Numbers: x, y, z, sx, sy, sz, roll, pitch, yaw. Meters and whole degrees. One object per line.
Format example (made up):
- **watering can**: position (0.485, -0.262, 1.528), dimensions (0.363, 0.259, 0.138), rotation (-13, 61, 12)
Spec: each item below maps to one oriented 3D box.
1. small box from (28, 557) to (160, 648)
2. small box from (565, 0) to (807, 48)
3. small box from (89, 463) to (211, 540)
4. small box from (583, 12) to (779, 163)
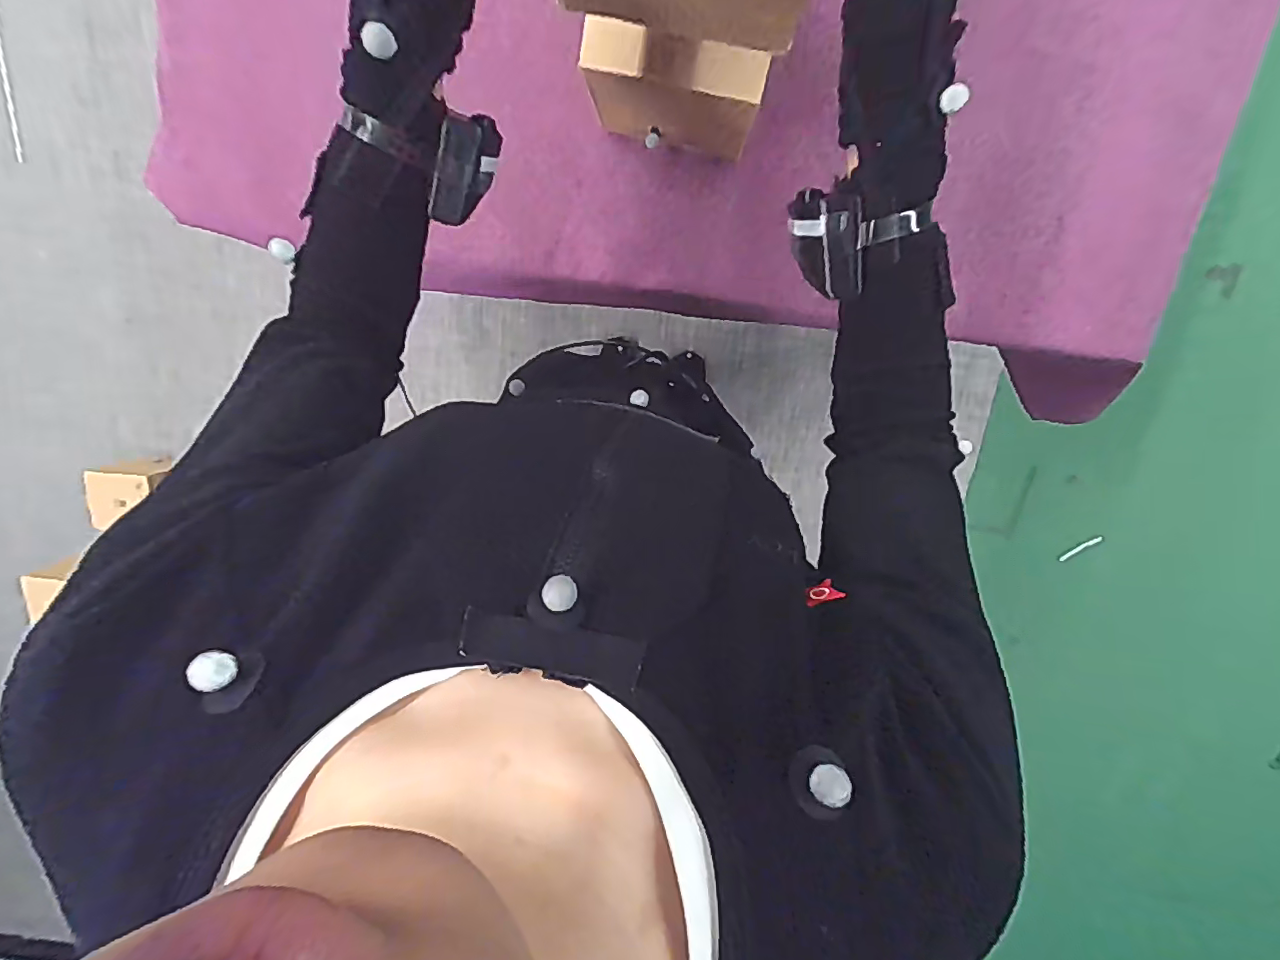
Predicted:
- **small box**: position (-1.396, 0.311, 1.402), dimensions (0.179, 0.176, 0.168), rotation (6, 106, 2)
- **small box**: position (0.036, -0.378, 0.293), dimensions (0.179, 0.176, 0.168), rotation (10, 105, -2)
- **small box**: position (-1.347, 0.053, 1.497), dimensions (0.179, 0.176, 0.168), rotation (5, 106, 2)
- **small box**: position (0.050, -0.442, 0.527), dimensions (0.168, 0.176, 0.179), rotation (12, 106, 1)
